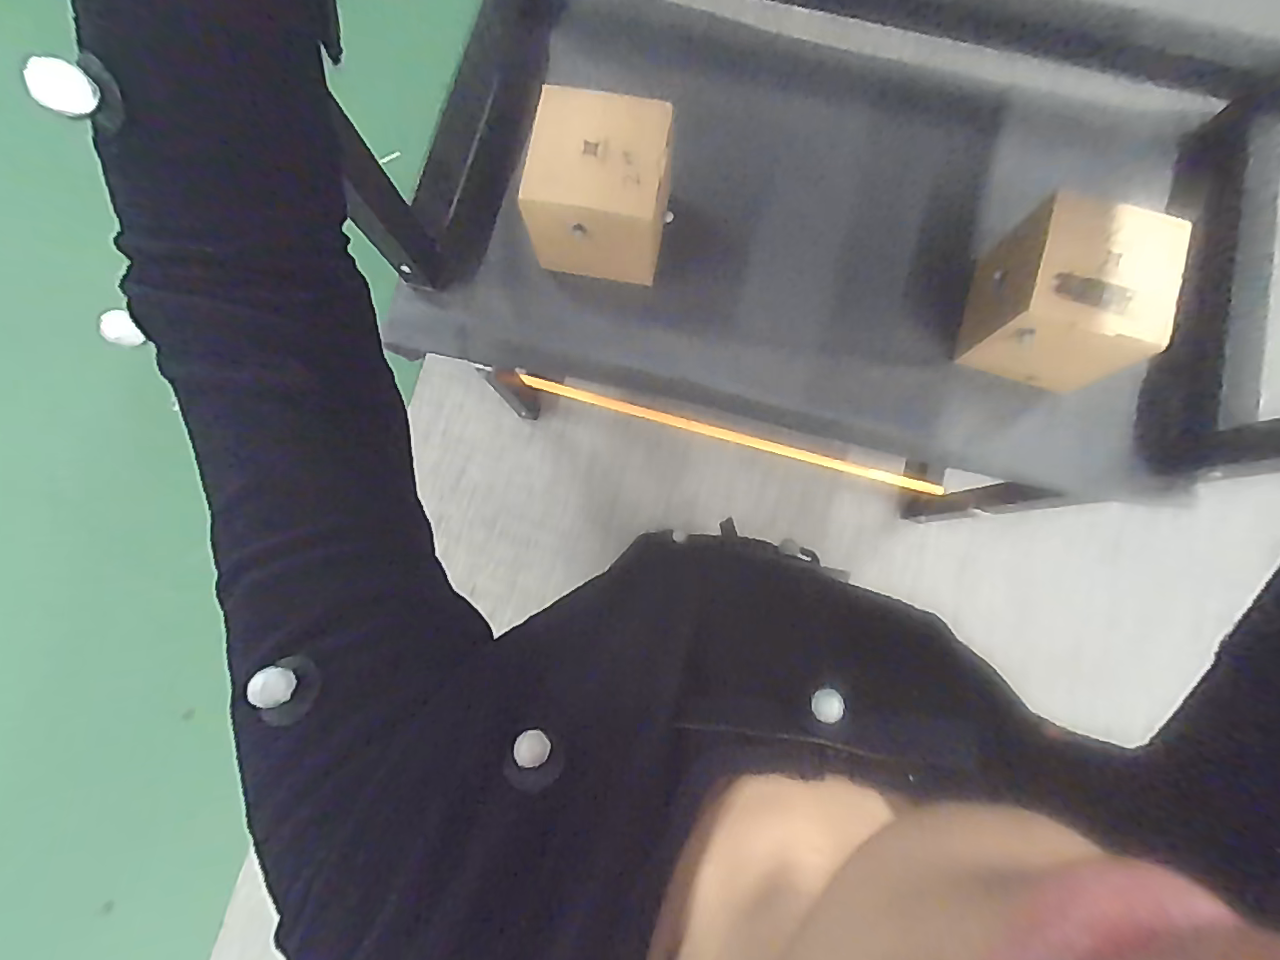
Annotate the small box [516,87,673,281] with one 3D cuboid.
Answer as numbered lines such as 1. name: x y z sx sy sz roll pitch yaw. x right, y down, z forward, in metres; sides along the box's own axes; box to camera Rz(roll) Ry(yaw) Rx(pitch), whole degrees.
1. small box: -0.056 -0.405 0.767 0.179 0.176 0.168 10 82 2
